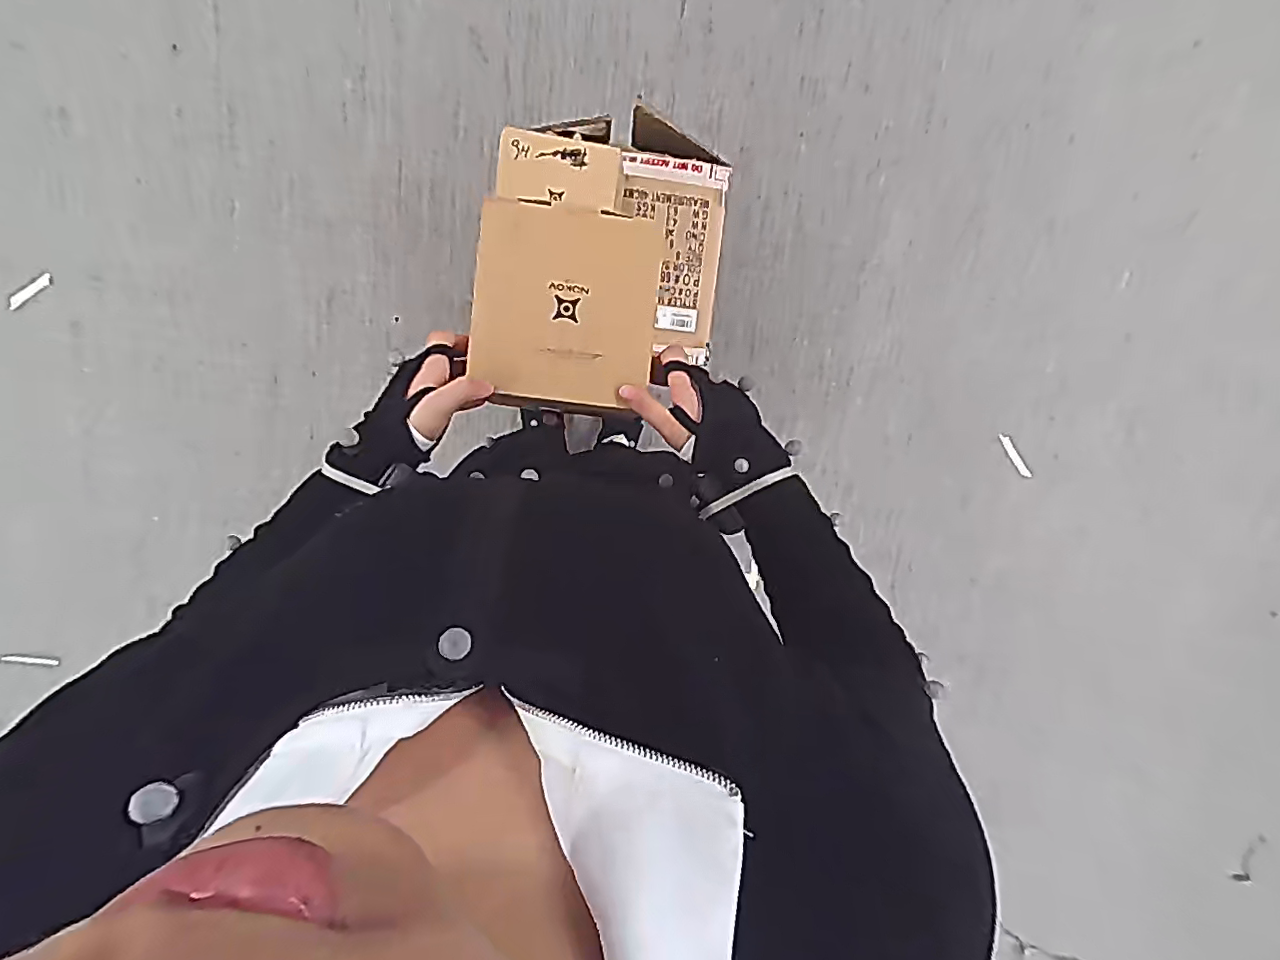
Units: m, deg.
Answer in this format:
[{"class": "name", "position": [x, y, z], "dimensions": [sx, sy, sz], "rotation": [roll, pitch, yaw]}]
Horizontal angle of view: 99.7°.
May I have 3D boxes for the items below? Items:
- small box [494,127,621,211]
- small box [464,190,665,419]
[{"class": "small box", "position": [-0.121, -0.396, 0.823], "dimensions": [0.168, 0.176, 0.179], "rotation": [9, 104, -3]}, {"class": "small box", "position": [-0.075, -0.163, 0.561], "dimensions": [0.168, 0.176, 0.179], "rotation": [6, 93, -6]}]
